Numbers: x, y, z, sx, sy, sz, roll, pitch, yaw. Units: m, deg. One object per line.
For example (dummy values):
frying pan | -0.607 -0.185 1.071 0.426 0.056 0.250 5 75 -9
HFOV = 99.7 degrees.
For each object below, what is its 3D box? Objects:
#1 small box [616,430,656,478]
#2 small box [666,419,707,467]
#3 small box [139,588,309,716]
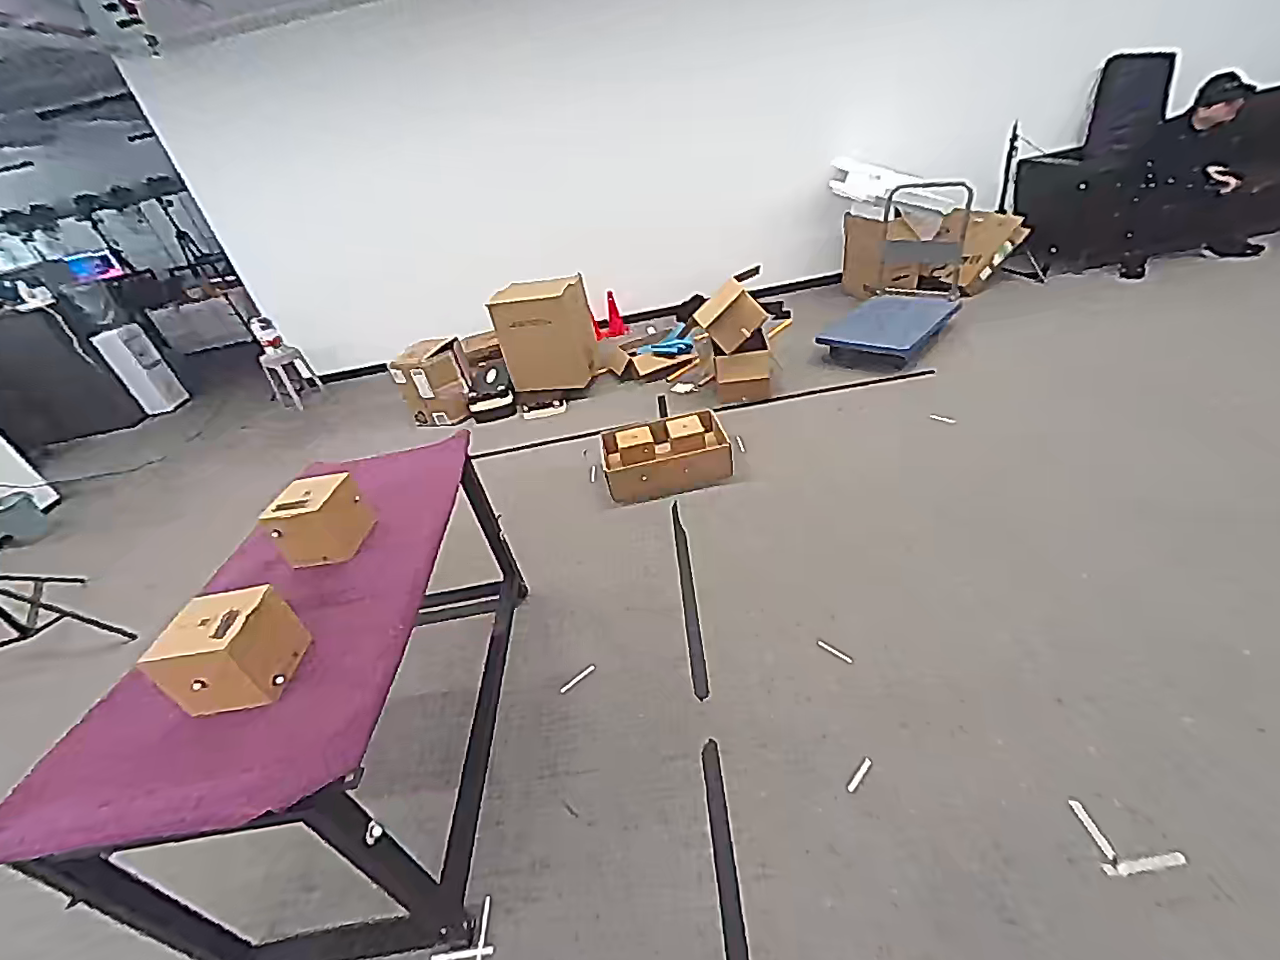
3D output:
small box | -0.016 -0.132 2.754 0.179 0.176 0.168 -13 32 -2
small box | 0.238 -0.188 2.757 0.168 0.176 0.179 -13 34 0
small box | -0.809 0.343 1.079 0.179 0.176 0.168 -10 33 3
